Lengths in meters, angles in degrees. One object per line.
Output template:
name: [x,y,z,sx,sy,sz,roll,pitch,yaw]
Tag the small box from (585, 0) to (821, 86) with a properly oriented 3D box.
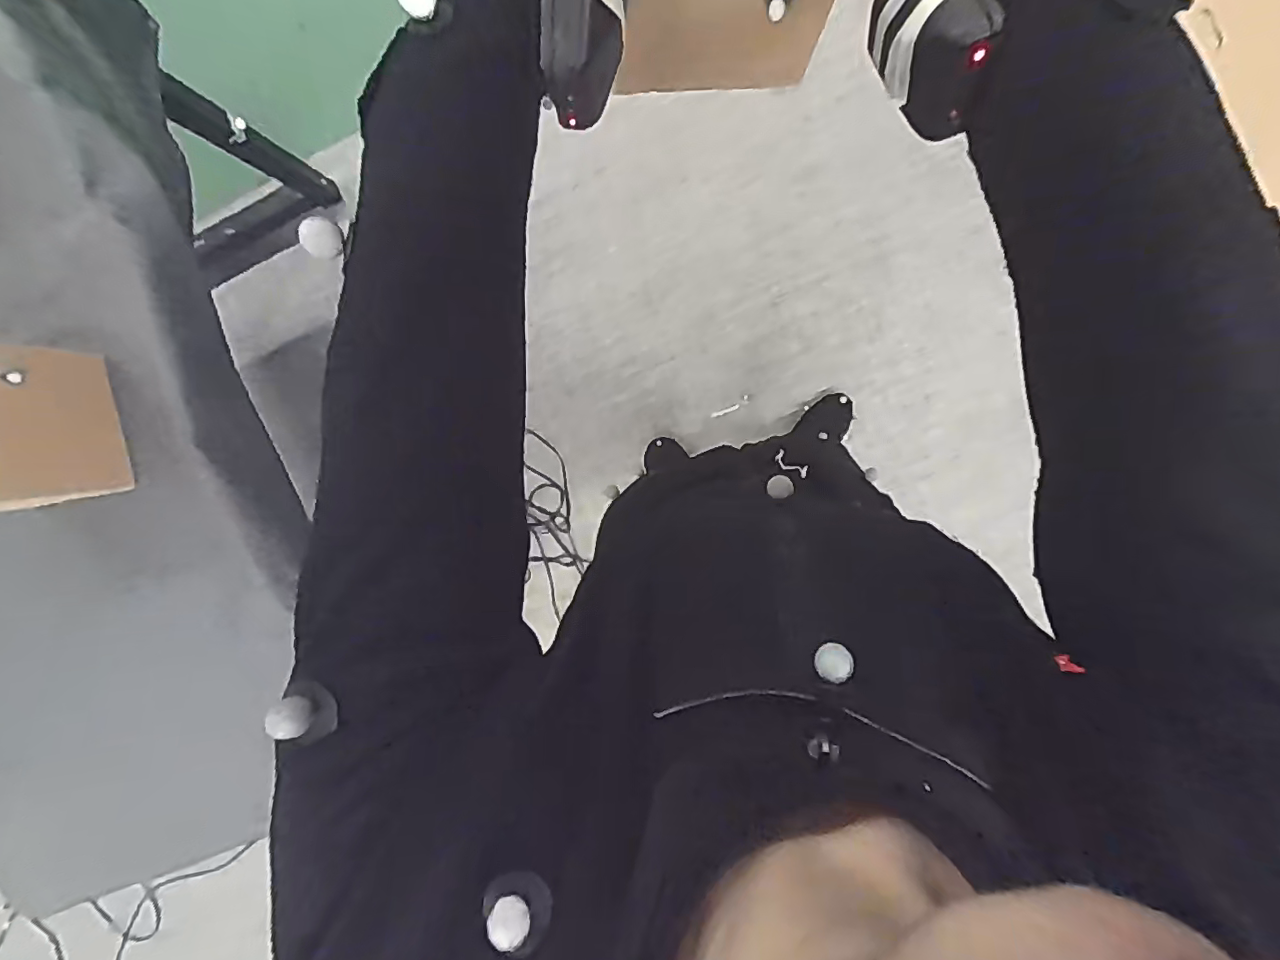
small box: [0.046,-0.409,0.382,0.179,0.176,0.168,1,103,5]
